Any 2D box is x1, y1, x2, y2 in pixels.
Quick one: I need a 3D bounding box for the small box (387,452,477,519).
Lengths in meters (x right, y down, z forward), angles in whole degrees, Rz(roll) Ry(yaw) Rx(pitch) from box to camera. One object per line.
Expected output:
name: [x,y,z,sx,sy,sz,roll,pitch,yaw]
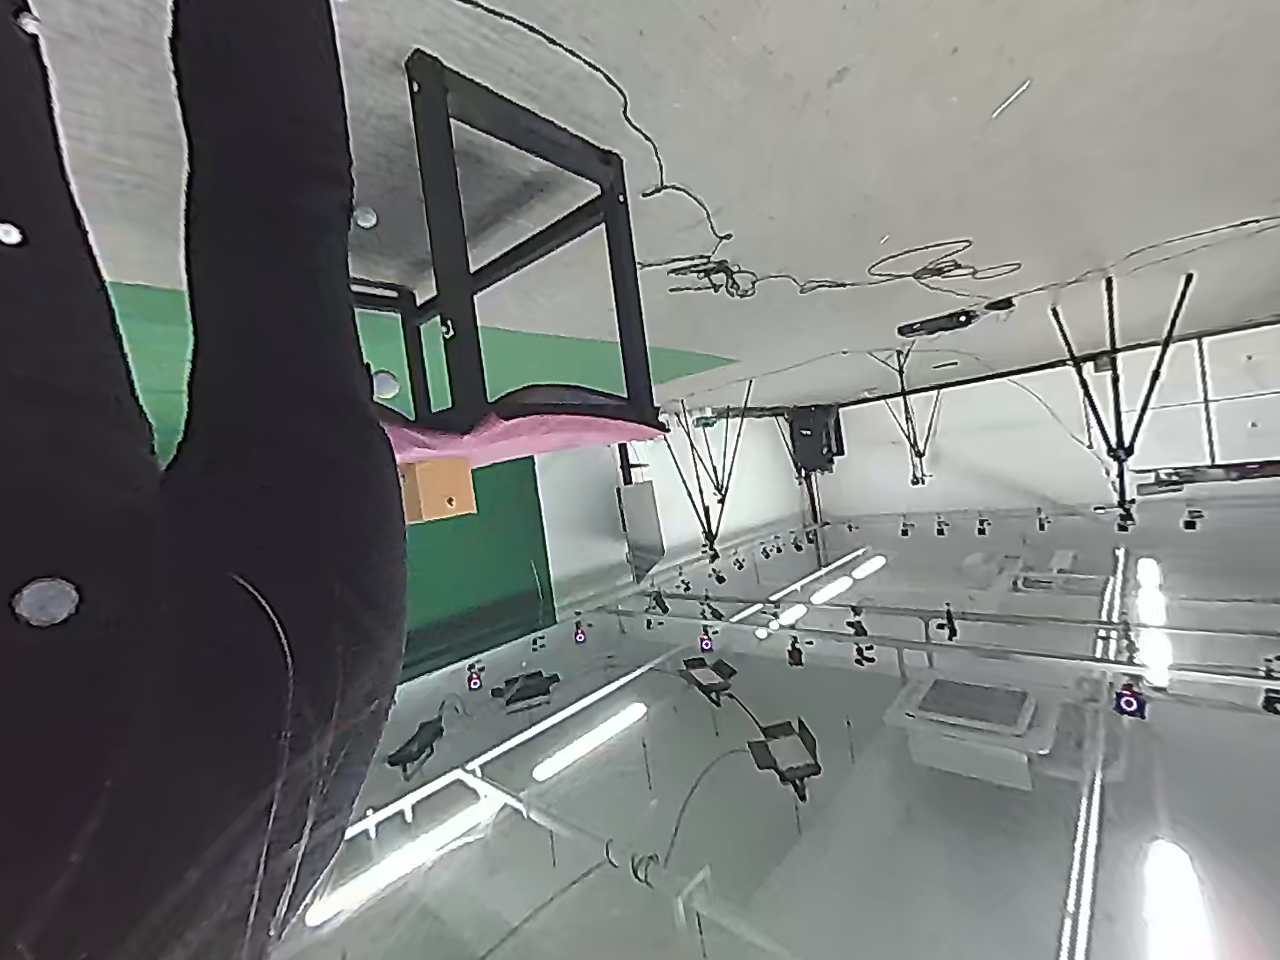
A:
small box: [-0.603,0.013,1.563,0.168,0.176,0.179,-8,-179,37]
